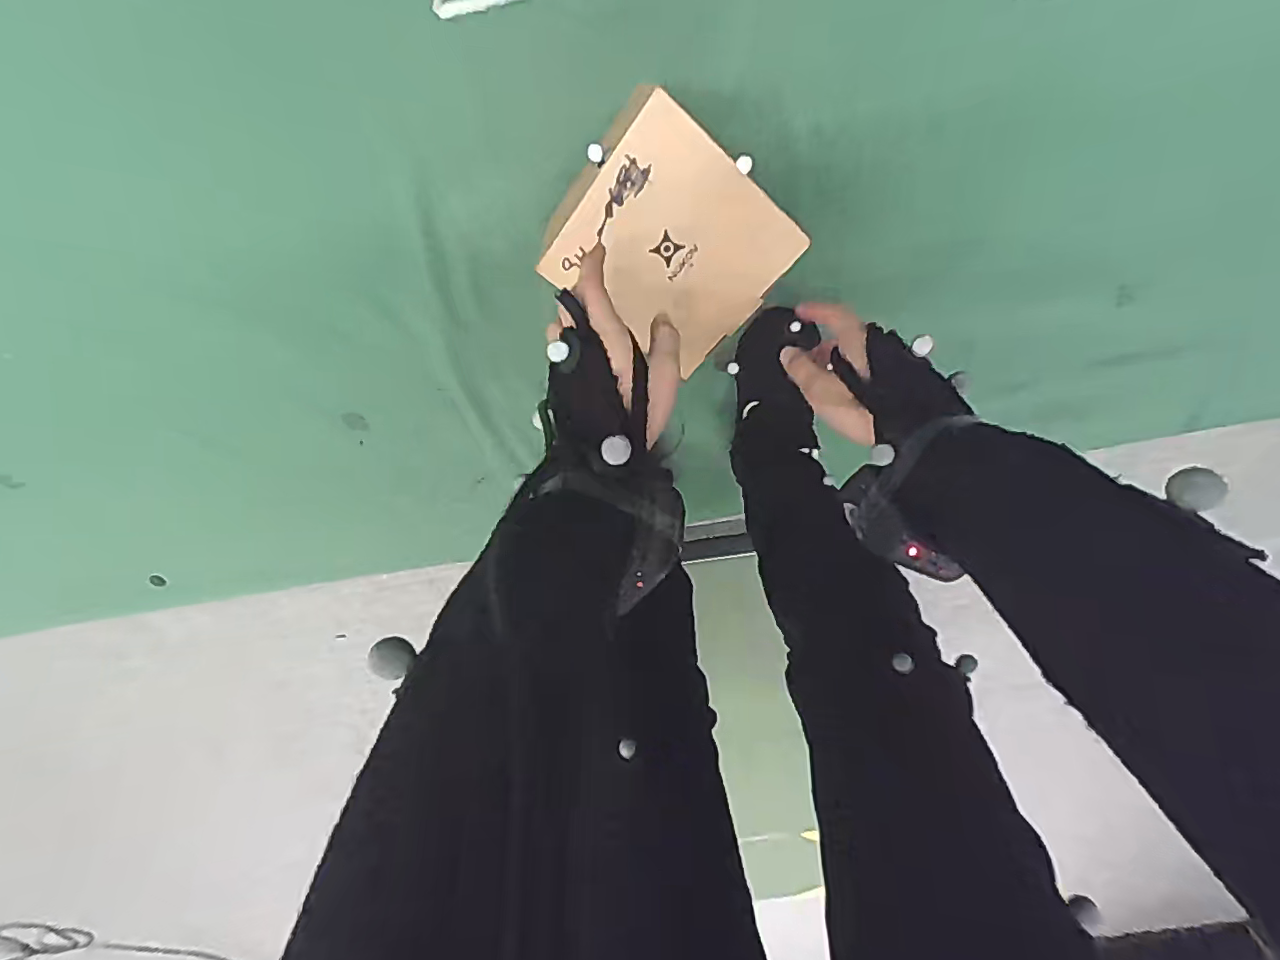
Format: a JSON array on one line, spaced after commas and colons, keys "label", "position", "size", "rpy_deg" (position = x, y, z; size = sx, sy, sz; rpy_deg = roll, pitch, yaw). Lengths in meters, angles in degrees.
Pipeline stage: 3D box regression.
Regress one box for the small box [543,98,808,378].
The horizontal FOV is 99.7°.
[{"label": "small box", "position": [0.027, -0.240, 0.531], "size": [0.179, 0.176, 0.168], "rpy_deg": [31, 119, -25]}]
